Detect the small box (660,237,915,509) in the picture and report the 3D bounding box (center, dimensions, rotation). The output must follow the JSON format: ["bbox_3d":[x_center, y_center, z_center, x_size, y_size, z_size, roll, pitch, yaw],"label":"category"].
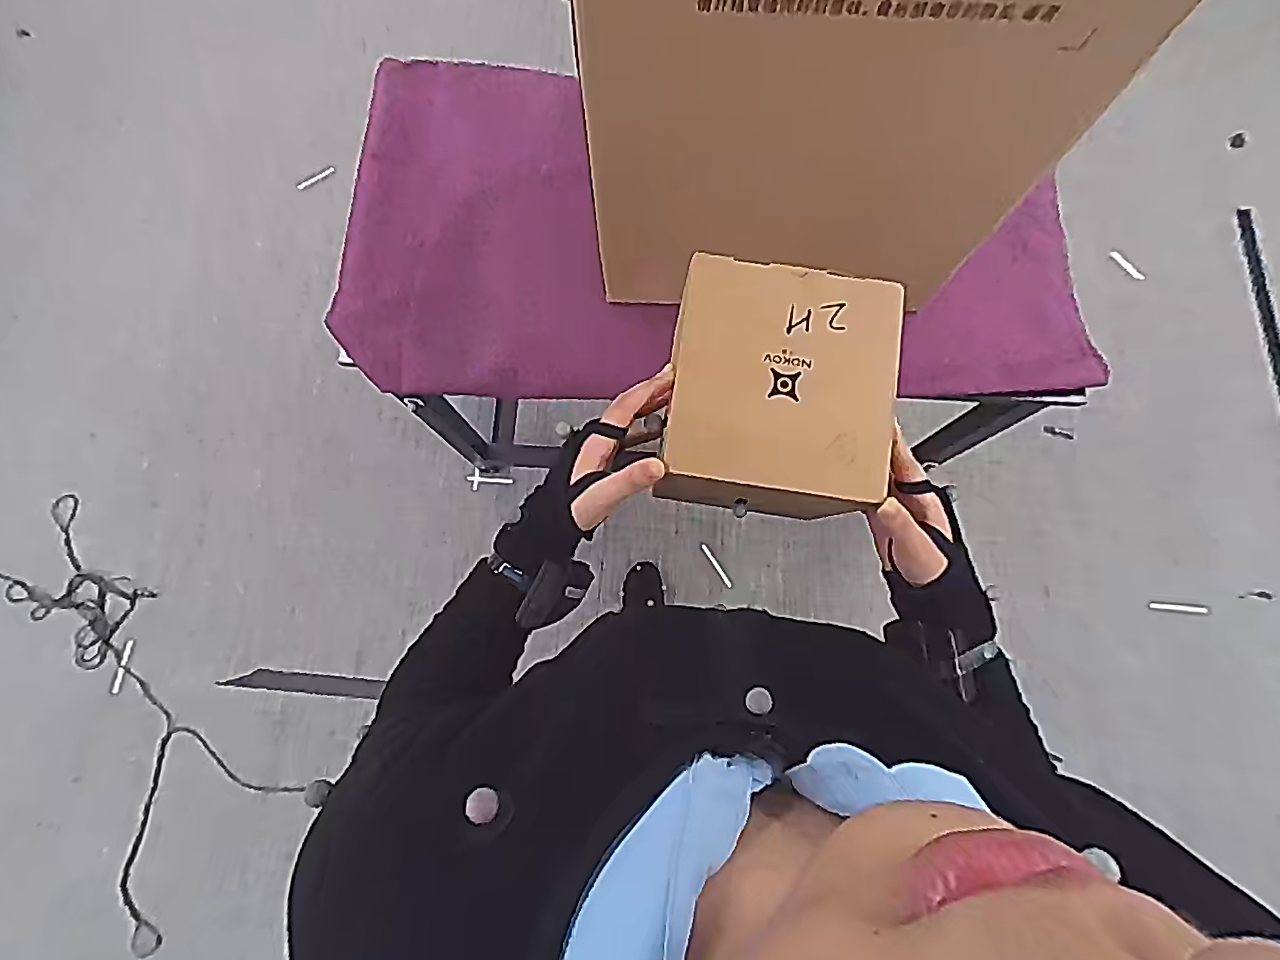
[{"bbox_3d":[0.111,-0.075,0.473,0.168,0.176,0.179,9,81,0],"label":"small box"}]
